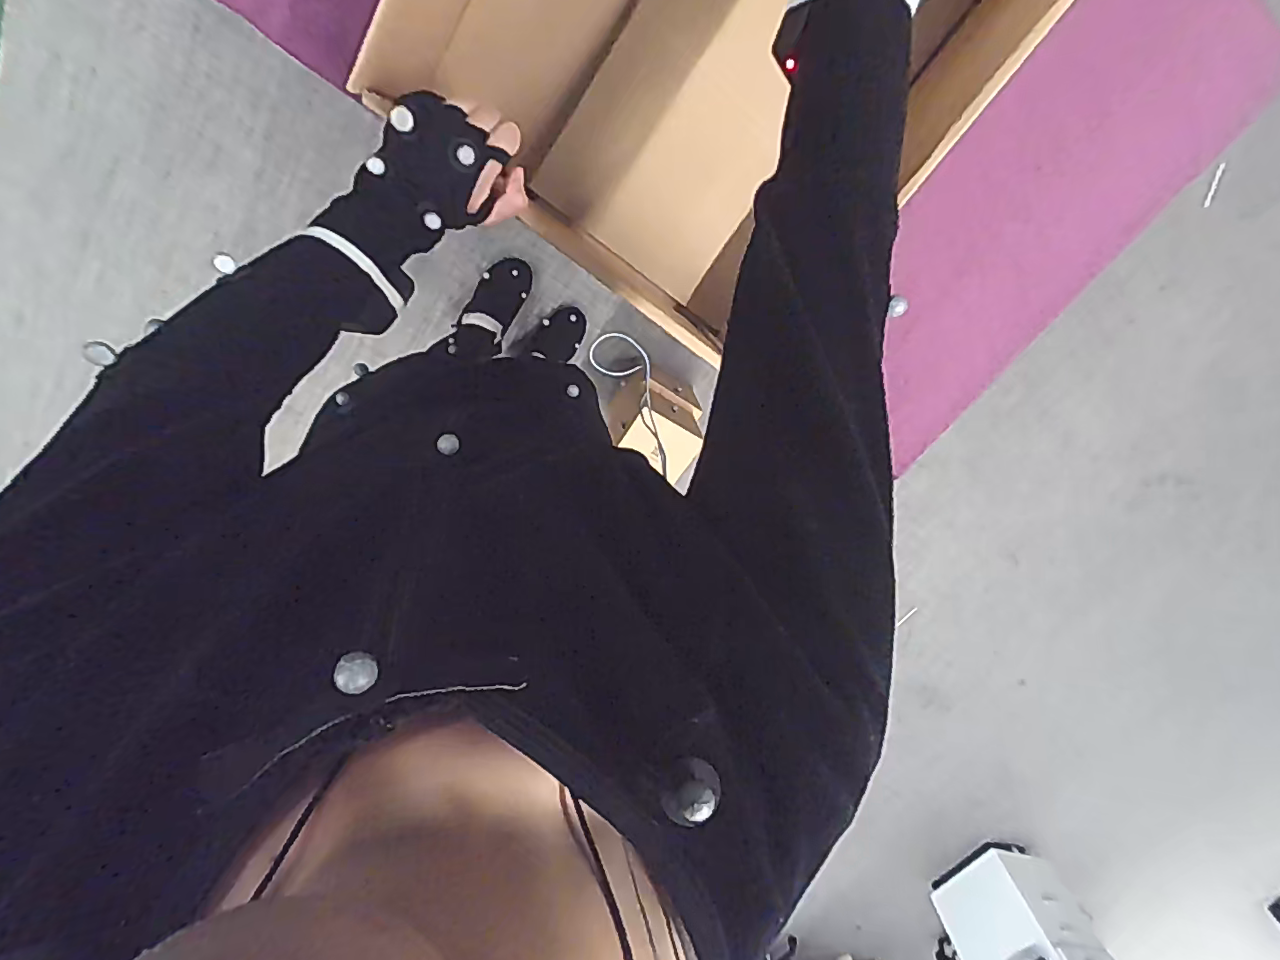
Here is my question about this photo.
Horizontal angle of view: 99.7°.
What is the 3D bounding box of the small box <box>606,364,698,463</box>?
[{"bbox_3d":[0.026,-0.182,1.422,0.179,0.176,0.168,30,112,-19],"label":"small box"}]
